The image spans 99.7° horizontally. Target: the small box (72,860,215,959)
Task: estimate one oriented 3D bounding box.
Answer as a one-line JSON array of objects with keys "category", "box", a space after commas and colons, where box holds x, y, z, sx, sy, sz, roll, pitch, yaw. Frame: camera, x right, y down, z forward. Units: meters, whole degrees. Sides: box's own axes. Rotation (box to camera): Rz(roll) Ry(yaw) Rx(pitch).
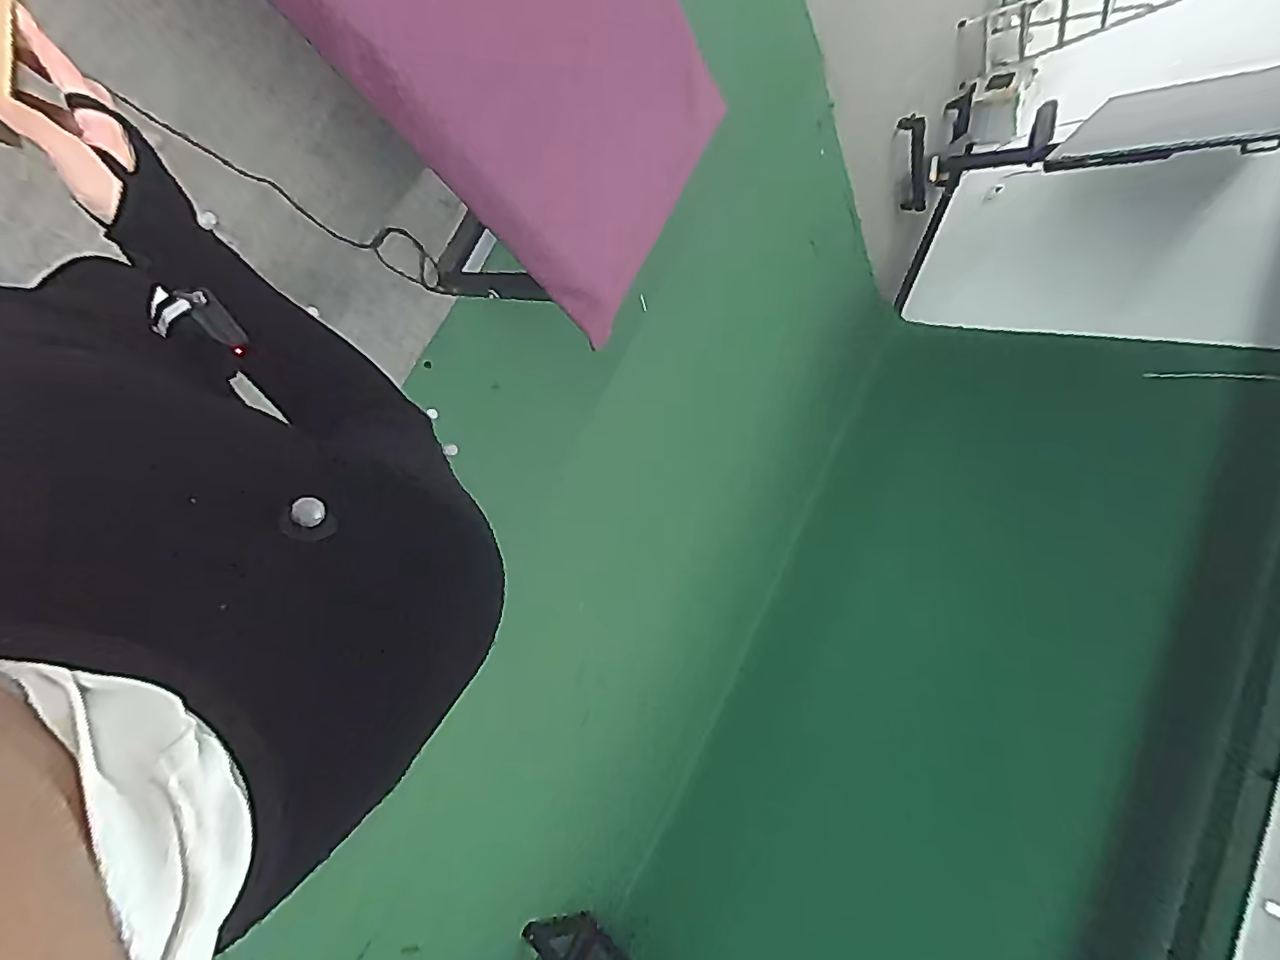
[{"category": "small box", "box": [-1.062, 0.966, 1.156, 0.168, 0.176, 0.179, -32, 128, -37]}]
